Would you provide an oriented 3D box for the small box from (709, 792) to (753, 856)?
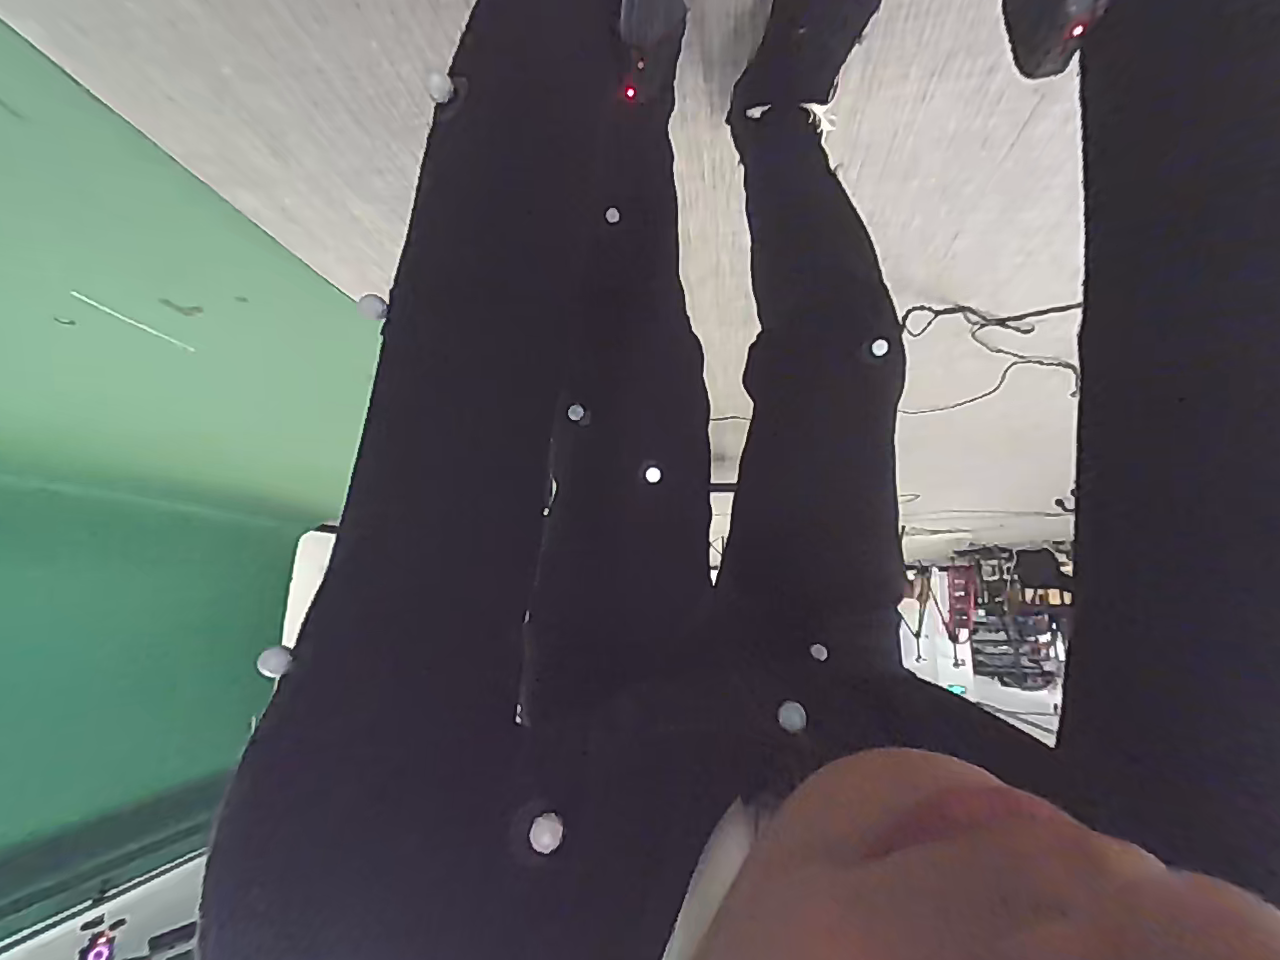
[{"bbox_3d":[0.363,1.359,2.151,0.168,0.176,0.179,-2,168,10],"label":"small box"}]
